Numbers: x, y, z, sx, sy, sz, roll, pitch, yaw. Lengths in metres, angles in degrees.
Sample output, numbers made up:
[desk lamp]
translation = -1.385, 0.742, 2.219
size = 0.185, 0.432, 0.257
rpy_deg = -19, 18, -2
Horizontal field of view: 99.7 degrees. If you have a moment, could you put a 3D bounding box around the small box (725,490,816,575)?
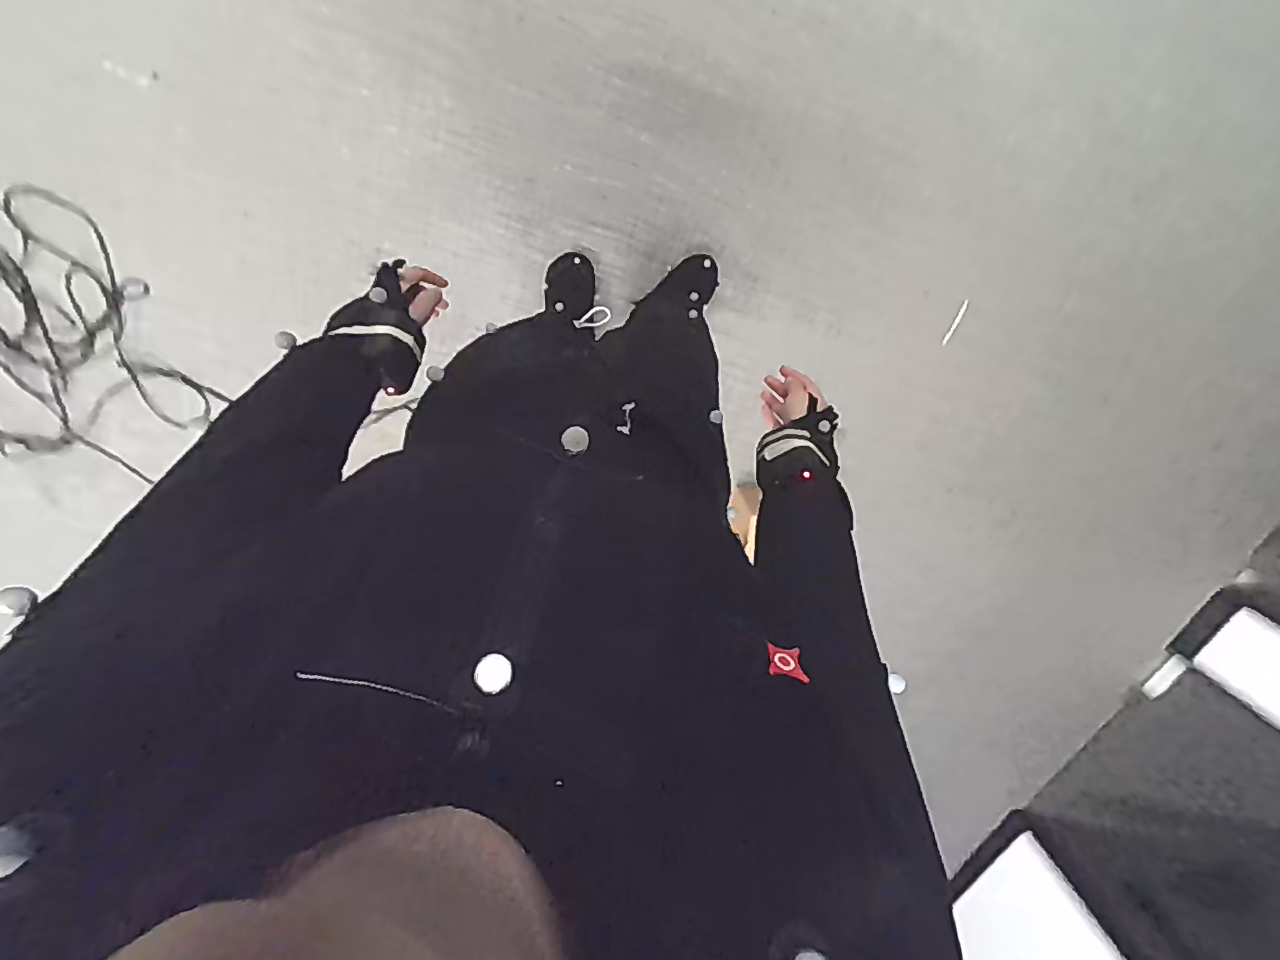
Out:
[small box]
translation = 0.339, 0.137, 1.447
size = 0.179, 0.176, 0.168
rpy_deg = 3, 117, -9
